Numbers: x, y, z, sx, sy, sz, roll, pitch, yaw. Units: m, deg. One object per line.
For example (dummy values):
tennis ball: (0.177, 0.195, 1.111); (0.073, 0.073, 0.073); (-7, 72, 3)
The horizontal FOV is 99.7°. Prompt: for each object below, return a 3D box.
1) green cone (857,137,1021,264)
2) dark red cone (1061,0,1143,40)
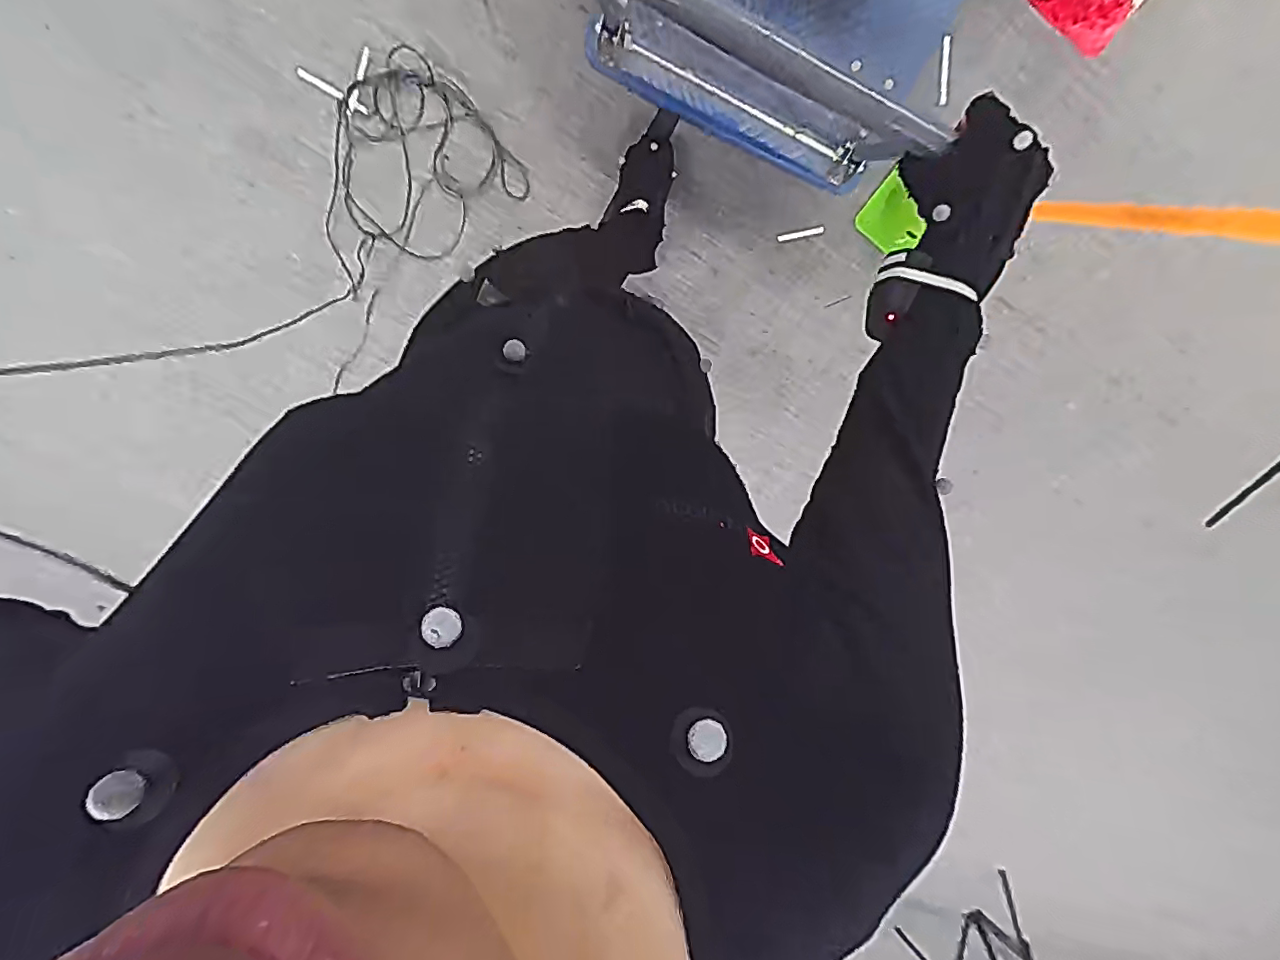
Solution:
green cone: (0.614, -0.542, 1.059); (0.202, 0.368, 0.200); (31, 114, -14)
dark red cone: (0.875, -0.894, 0.851); (0.201, 0.394, 0.202); (27, 115, -13)
